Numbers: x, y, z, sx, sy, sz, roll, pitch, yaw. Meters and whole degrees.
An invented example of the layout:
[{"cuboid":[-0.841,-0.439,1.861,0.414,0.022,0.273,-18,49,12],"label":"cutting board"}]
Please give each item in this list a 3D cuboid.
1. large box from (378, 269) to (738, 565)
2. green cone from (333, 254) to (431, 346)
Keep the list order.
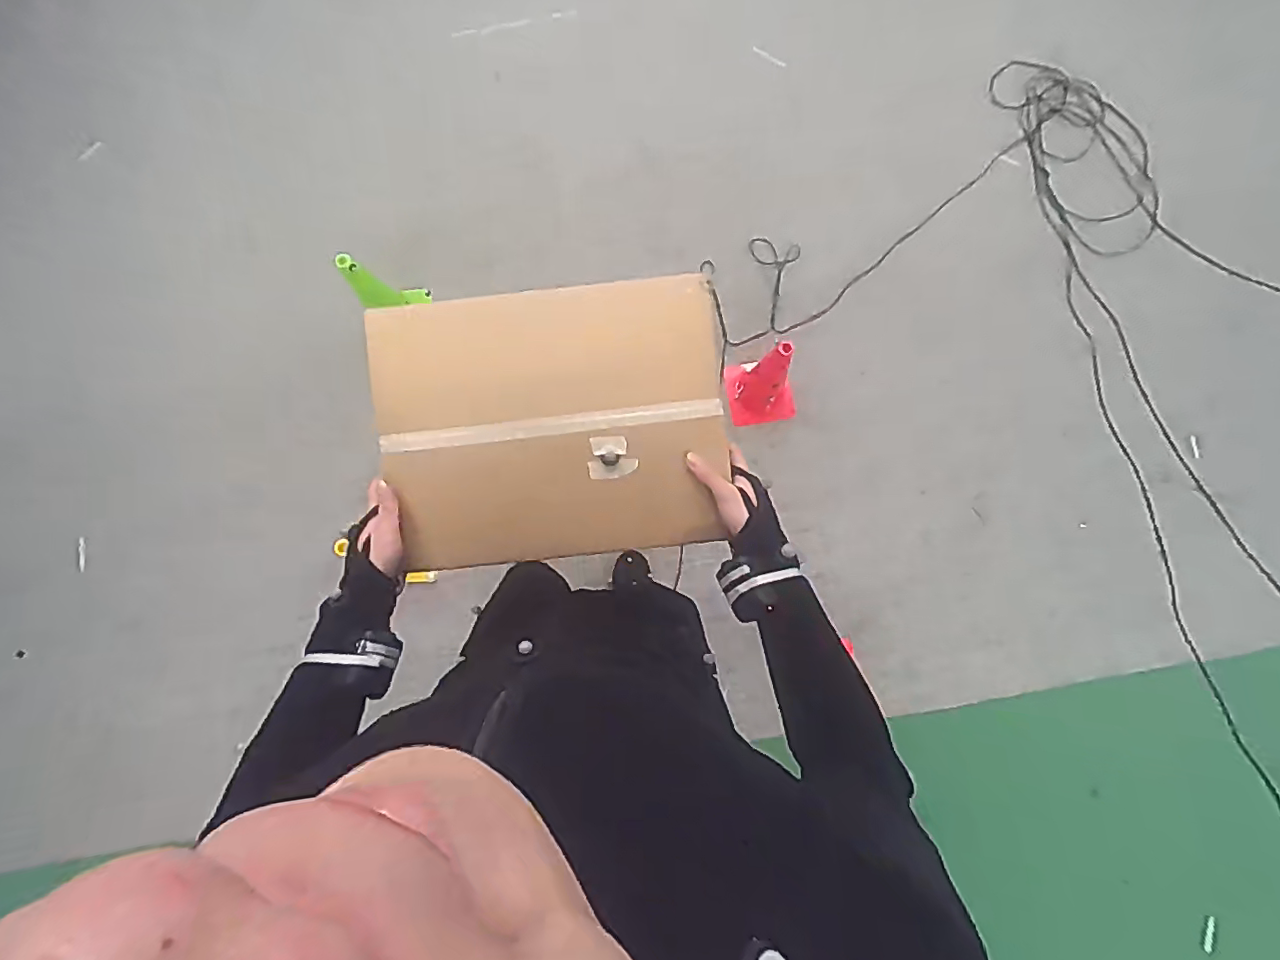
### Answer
[{"cuboid":[-0.098,-0.079,0.791,0.408,0.320,0.320,-7,93,0],"label":"large box"},{"cuboid":[-0.786,-0.558,1.594,0.200,0.368,0.202,-4,83,1],"label":"green cone"}]
